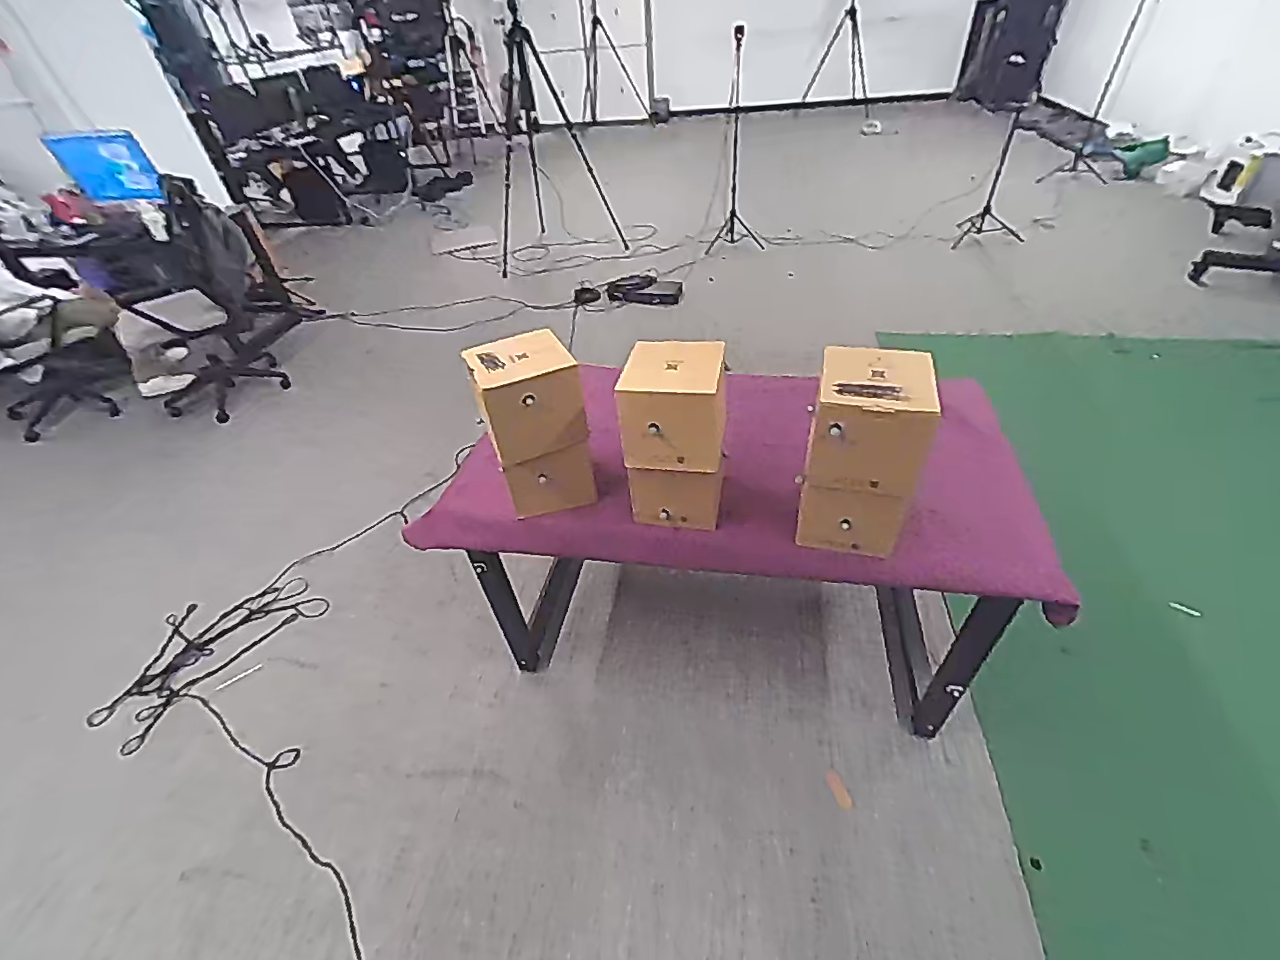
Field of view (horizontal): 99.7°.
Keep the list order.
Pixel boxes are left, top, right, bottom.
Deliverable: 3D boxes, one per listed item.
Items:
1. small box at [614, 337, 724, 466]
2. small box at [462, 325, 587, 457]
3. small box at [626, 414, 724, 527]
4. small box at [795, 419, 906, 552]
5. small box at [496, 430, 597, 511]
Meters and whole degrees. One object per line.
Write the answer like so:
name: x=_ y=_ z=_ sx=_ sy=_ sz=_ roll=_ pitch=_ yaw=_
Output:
small box: x=0.062 y=-0.140 z=0.970 sx=0.168 sy=0.176 sz=0.179 roll=4 pitch=41 yaw=12
small box: x=-0.215 y=-0.168 z=1.025 sx=0.179 sy=0.176 sz=0.168 roll=-19 pitch=43 yaw=-17
small box: x=0.076 y=-0.030 z=1.090 sx=0.168 sy=0.176 sz=0.179 roll=5 pitch=42 yaw=13
small box: x=0.386 y=0.011 z=1.008 sx=0.168 sy=0.176 sz=0.179 roll=9 pitch=44 yaw=15
small box: x=-0.198 y=-0.055 z=1.145 sx=0.179 sy=0.176 sz=0.168 roll=-12 pitch=42 yaw=-7
